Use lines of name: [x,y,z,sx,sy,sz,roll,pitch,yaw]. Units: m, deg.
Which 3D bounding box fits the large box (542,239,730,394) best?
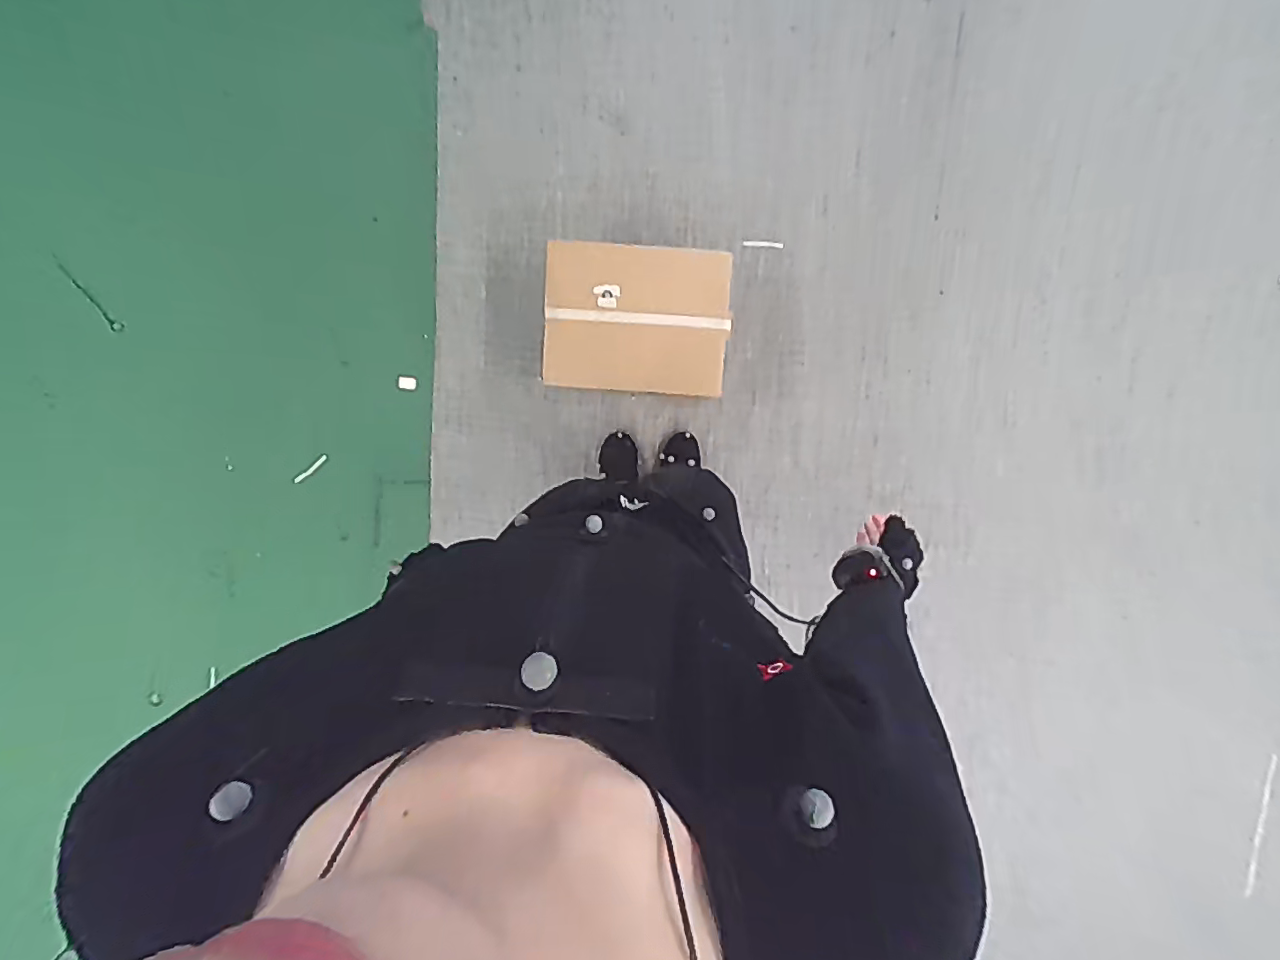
large box: [-0.006,-0.376,1.326,0.408,0.320,0.320,4,97,1]
